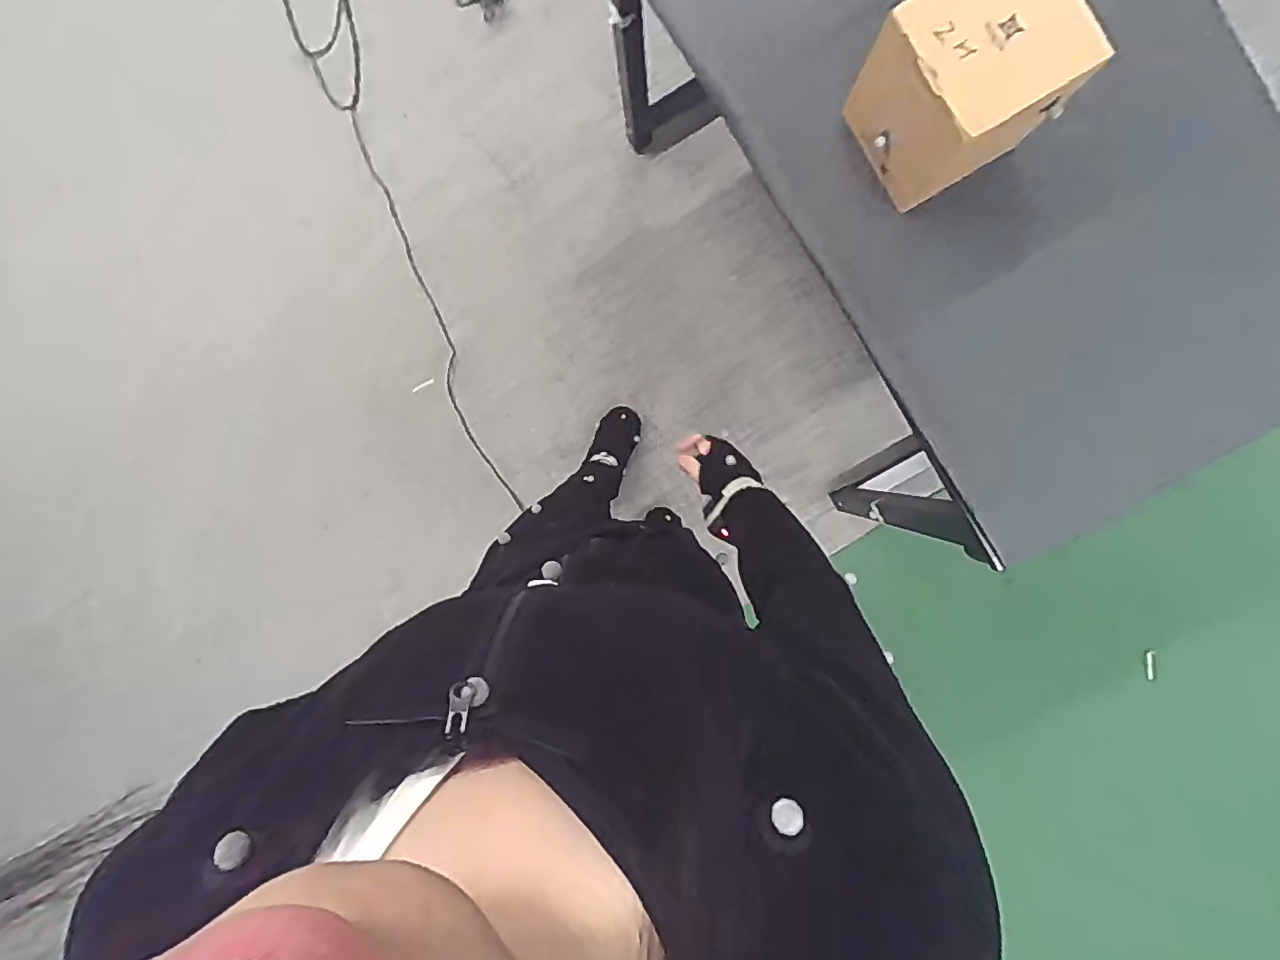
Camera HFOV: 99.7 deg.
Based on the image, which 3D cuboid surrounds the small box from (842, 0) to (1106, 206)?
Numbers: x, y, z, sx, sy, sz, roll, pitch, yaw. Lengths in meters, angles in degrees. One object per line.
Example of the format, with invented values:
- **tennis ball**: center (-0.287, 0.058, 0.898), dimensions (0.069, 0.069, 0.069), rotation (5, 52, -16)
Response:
- **small box**: center (0.380, -0.476, 0.650), dimensions (0.179, 0.176, 0.168), rotation (-31, 90, 2)
